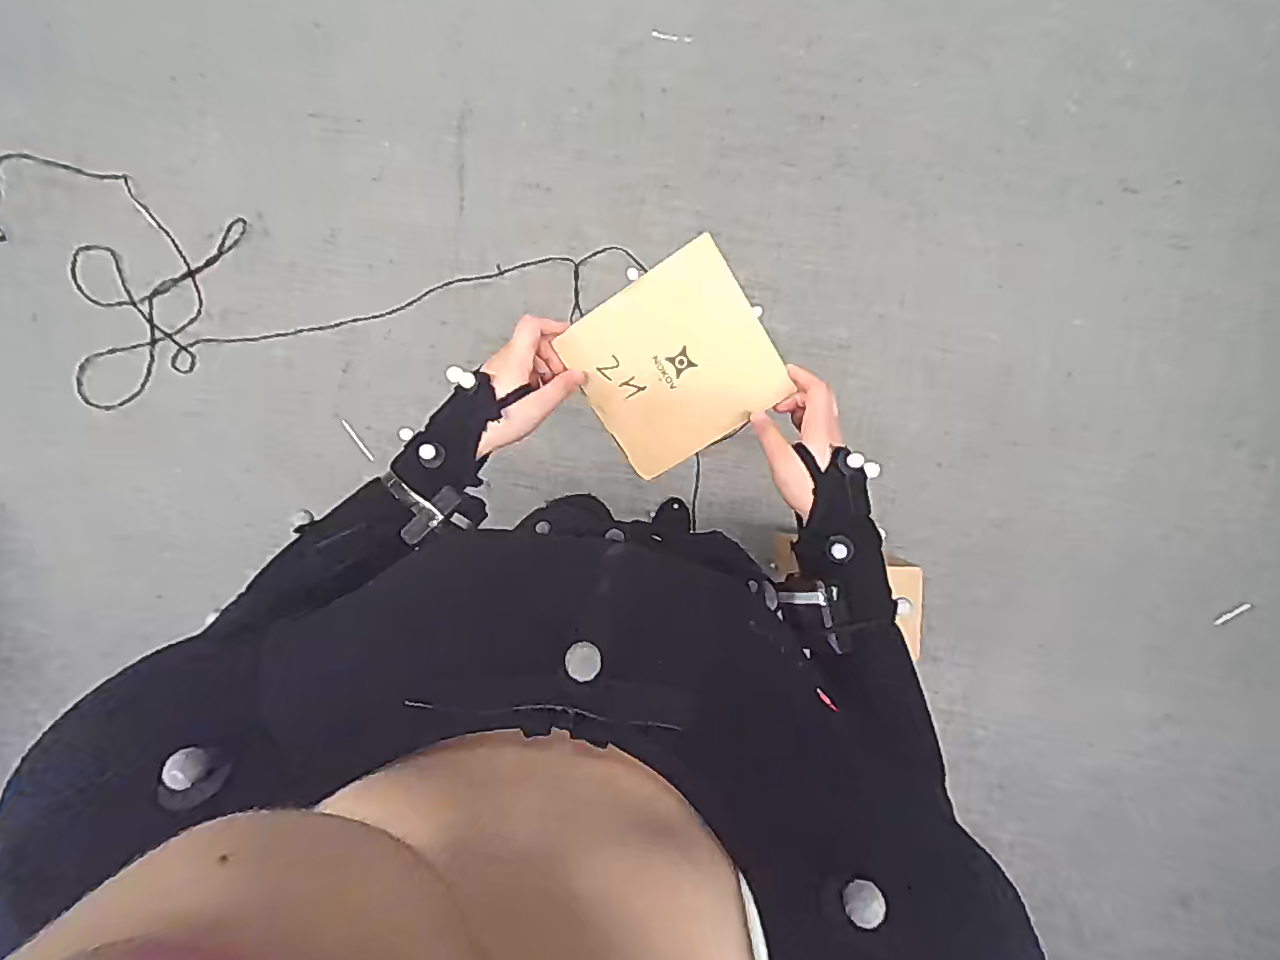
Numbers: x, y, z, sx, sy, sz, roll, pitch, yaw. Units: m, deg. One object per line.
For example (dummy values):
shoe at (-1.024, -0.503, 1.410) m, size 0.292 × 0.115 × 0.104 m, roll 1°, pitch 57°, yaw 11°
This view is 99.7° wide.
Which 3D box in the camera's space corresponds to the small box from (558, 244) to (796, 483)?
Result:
small box at (0.039, -0.128, 0.589) m, size 0.179 × 0.176 × 0.168 m, roll -31°, pitch 103°, yaw 13°

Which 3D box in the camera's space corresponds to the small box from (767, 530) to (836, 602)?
small box at (0.436, 0.227, 1.407) m, size 0.179 × 0.176 × 0.168 m, roll 7°, pitch 93°, yaw 2°

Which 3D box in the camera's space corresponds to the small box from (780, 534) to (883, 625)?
small box at (0.430, 0.222, 1.244) m, size 0.179 × 0.176 × 0.168 m, roll 4°, pitch 93°, yaw 1°
